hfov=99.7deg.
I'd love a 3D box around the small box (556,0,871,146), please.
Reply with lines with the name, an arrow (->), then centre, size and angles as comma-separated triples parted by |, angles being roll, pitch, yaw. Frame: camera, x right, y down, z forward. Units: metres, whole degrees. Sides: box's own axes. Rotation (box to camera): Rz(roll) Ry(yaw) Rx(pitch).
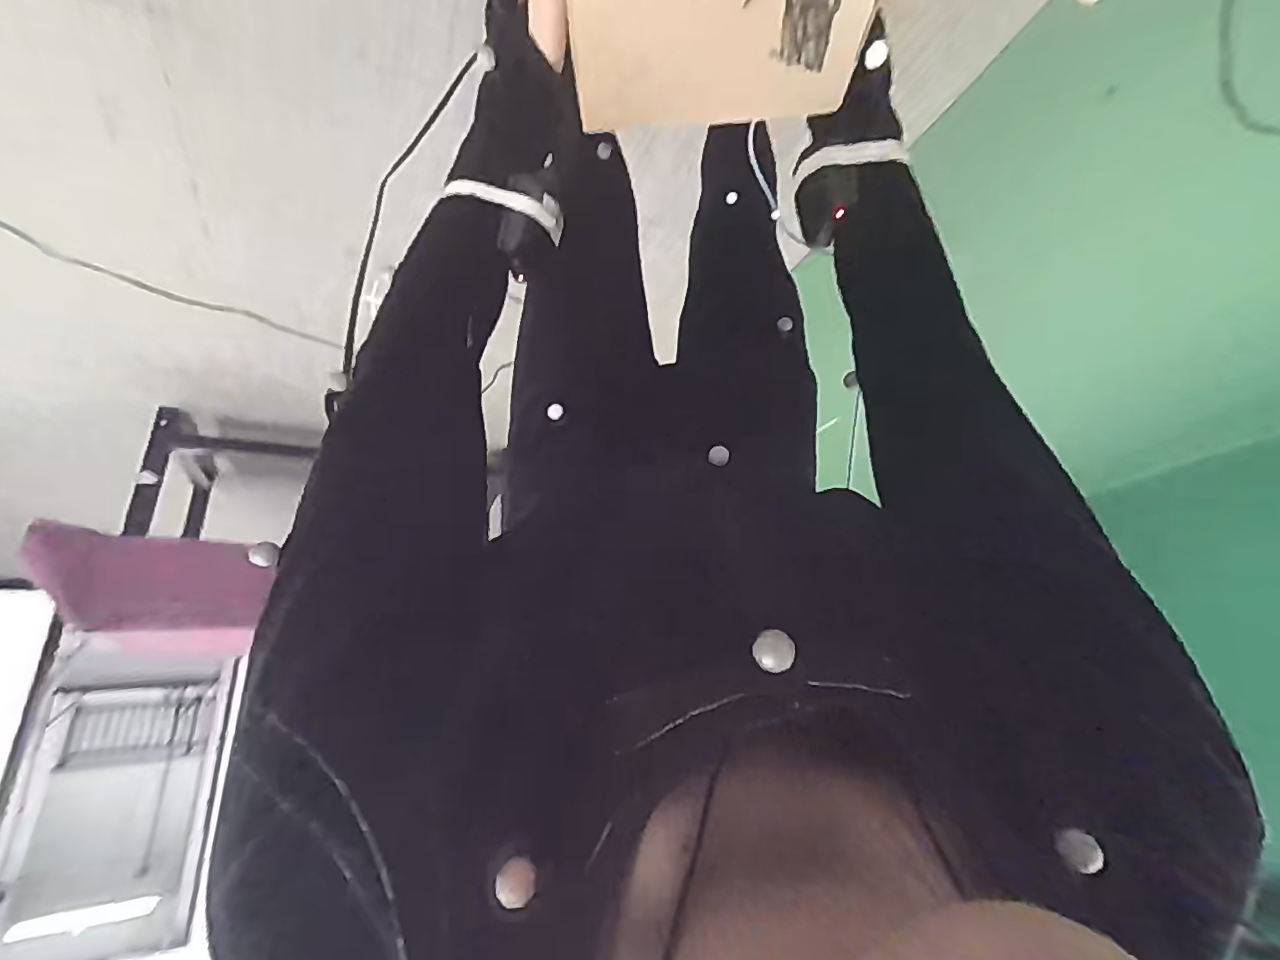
small box -> 0.034, -0.335, 0.316 | 0.179, 0.176, 0.168 | -6, 160, -3
